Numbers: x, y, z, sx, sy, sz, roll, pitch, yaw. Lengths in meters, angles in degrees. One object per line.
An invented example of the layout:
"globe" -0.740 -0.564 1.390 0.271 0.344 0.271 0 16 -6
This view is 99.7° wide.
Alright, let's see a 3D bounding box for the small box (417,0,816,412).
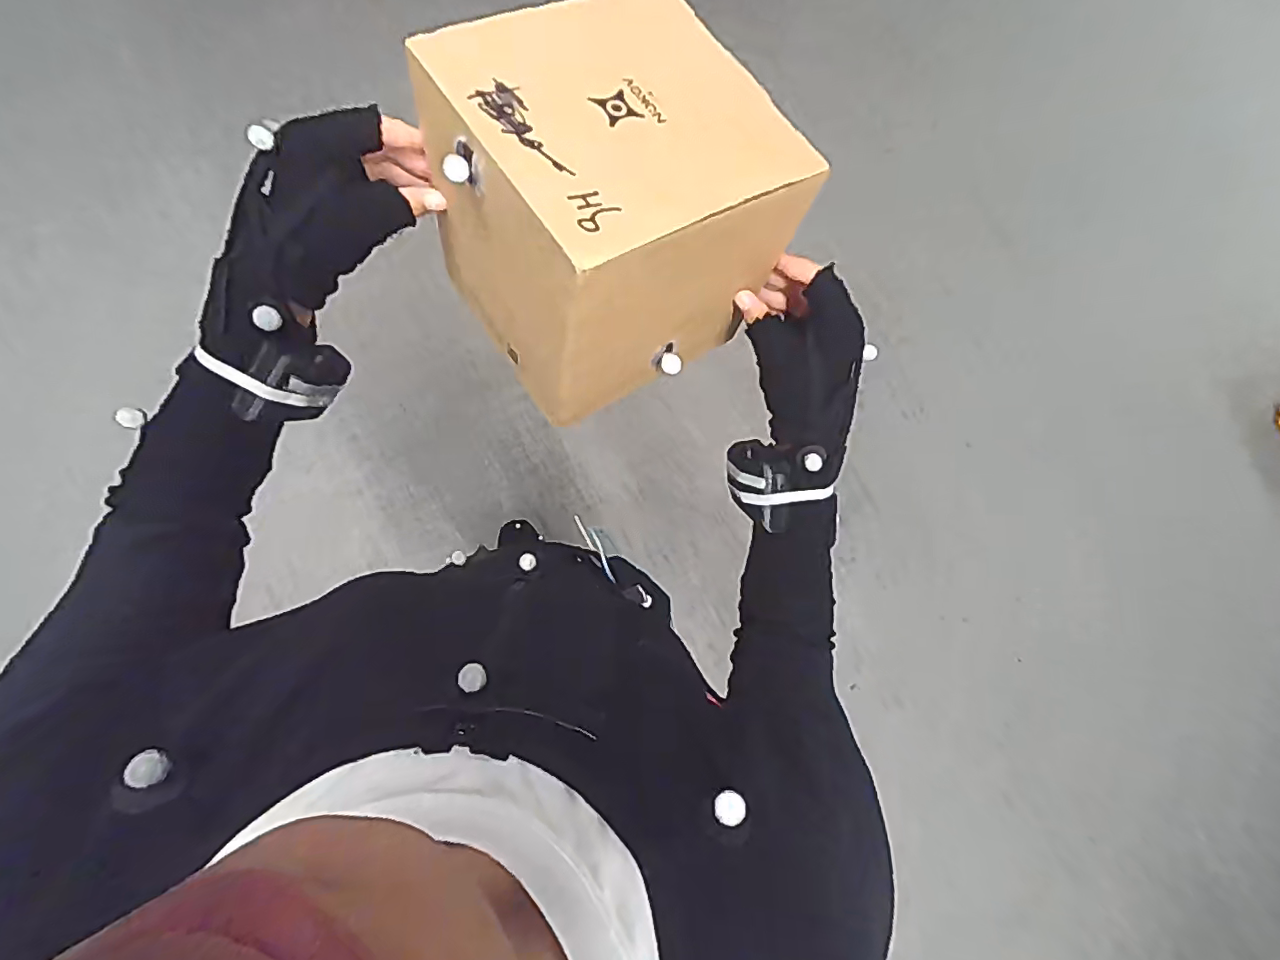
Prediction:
"small box" -0.025 -0.178 0.373 0.179 0.176 0.168 -31 78 -22
